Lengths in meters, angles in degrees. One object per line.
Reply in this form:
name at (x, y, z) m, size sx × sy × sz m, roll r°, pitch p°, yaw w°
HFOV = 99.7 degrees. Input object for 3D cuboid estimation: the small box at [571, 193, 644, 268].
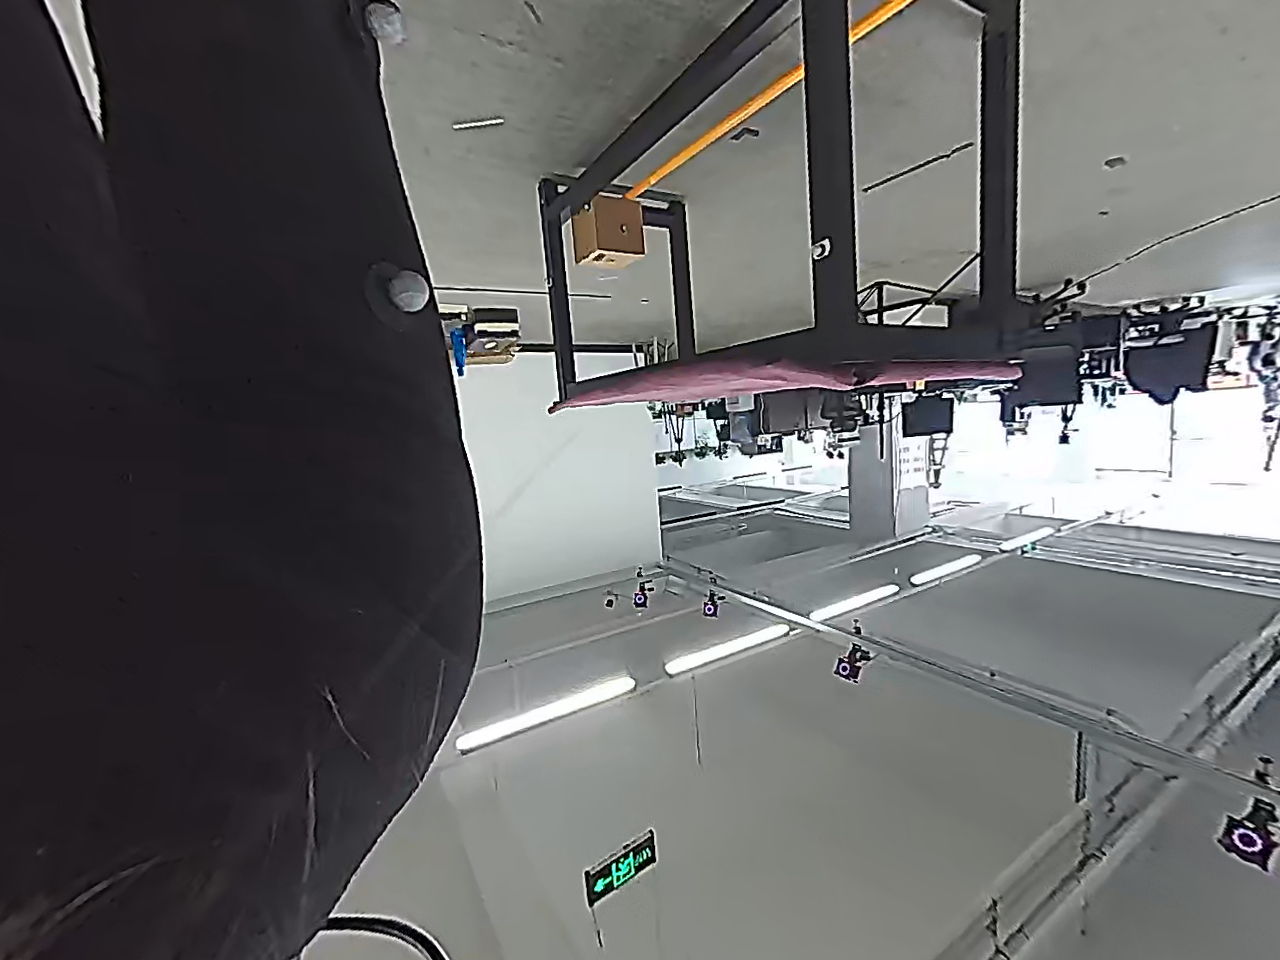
small box at (-0.108, -0.799, 1.737) m, size 0.179 × 0.176 × 0.168 m, roll -9°, pitch -173°, yaw -32°
